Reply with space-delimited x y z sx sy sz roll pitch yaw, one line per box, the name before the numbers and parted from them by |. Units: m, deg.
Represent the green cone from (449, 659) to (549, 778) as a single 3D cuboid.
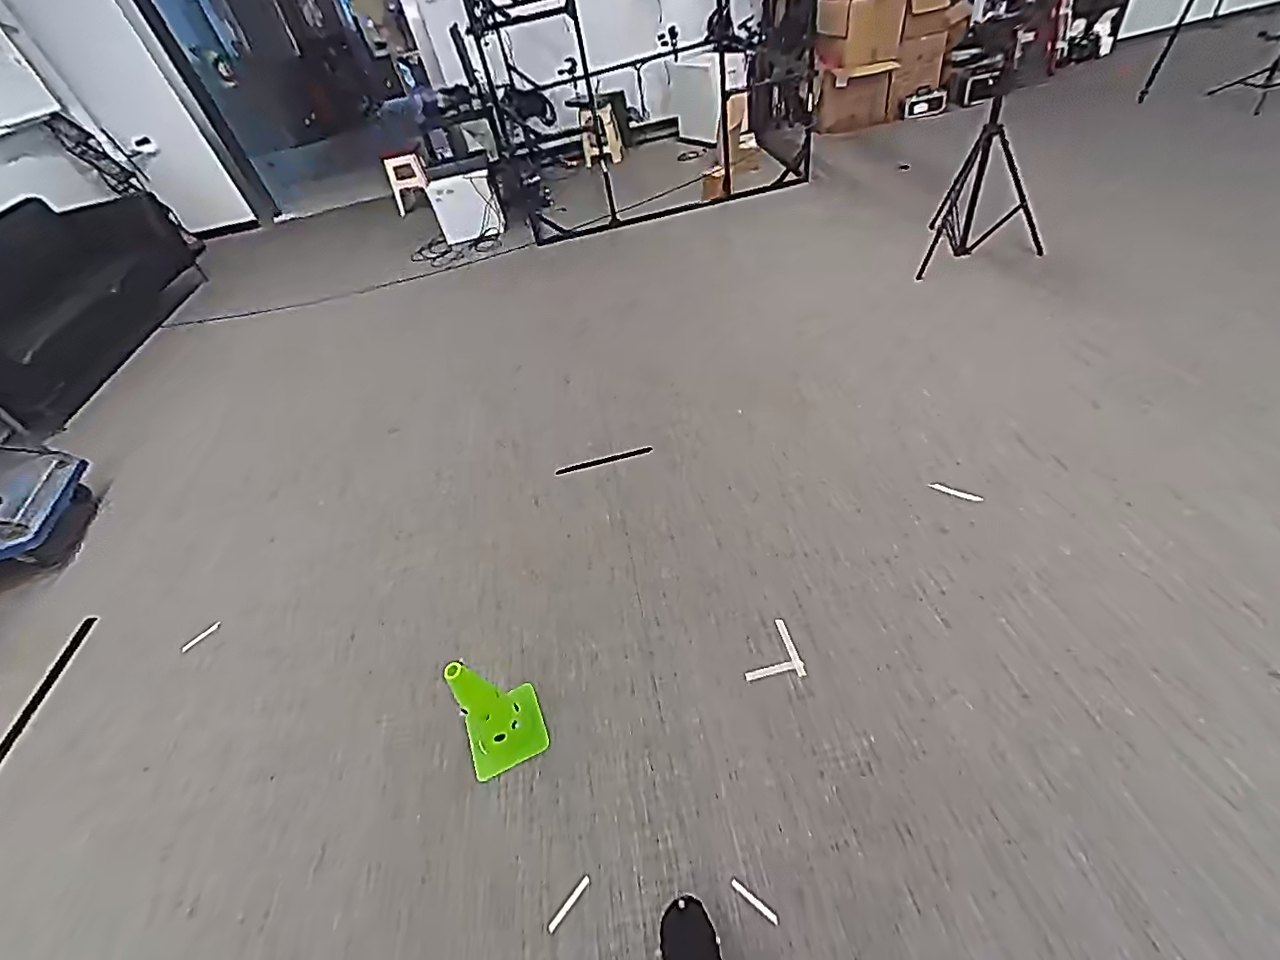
green cone | -0.387 0.549 1.335 0.202 0.368 0.200 -23 45 -11
